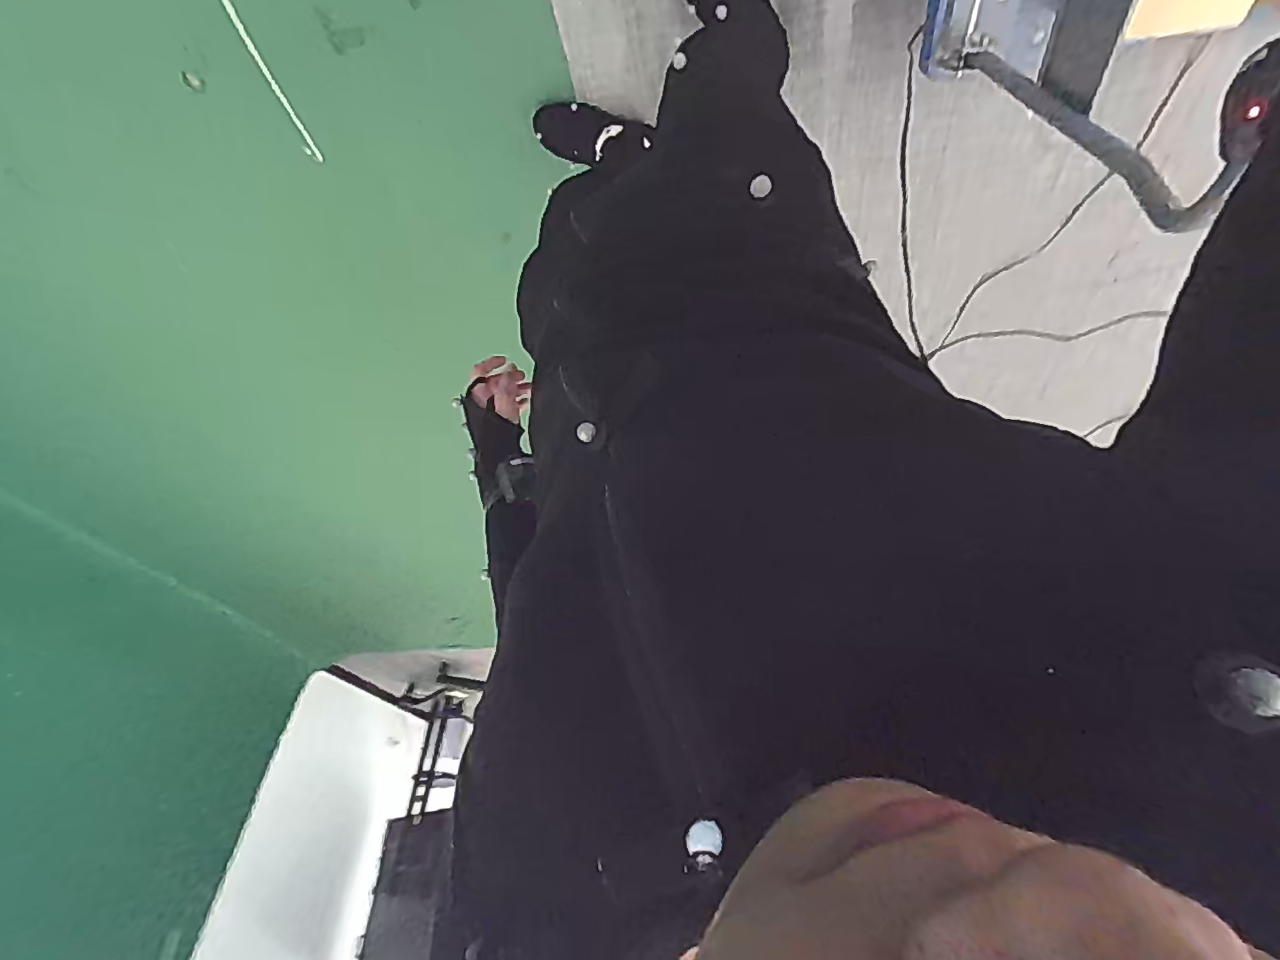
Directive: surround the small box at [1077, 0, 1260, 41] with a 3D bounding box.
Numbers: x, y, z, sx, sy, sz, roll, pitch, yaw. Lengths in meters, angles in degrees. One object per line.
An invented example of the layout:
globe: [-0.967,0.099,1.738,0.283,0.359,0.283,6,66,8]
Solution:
small box: [0.811,-0.787,0.800,0.179,0.176,0.168,-3,142,8]
